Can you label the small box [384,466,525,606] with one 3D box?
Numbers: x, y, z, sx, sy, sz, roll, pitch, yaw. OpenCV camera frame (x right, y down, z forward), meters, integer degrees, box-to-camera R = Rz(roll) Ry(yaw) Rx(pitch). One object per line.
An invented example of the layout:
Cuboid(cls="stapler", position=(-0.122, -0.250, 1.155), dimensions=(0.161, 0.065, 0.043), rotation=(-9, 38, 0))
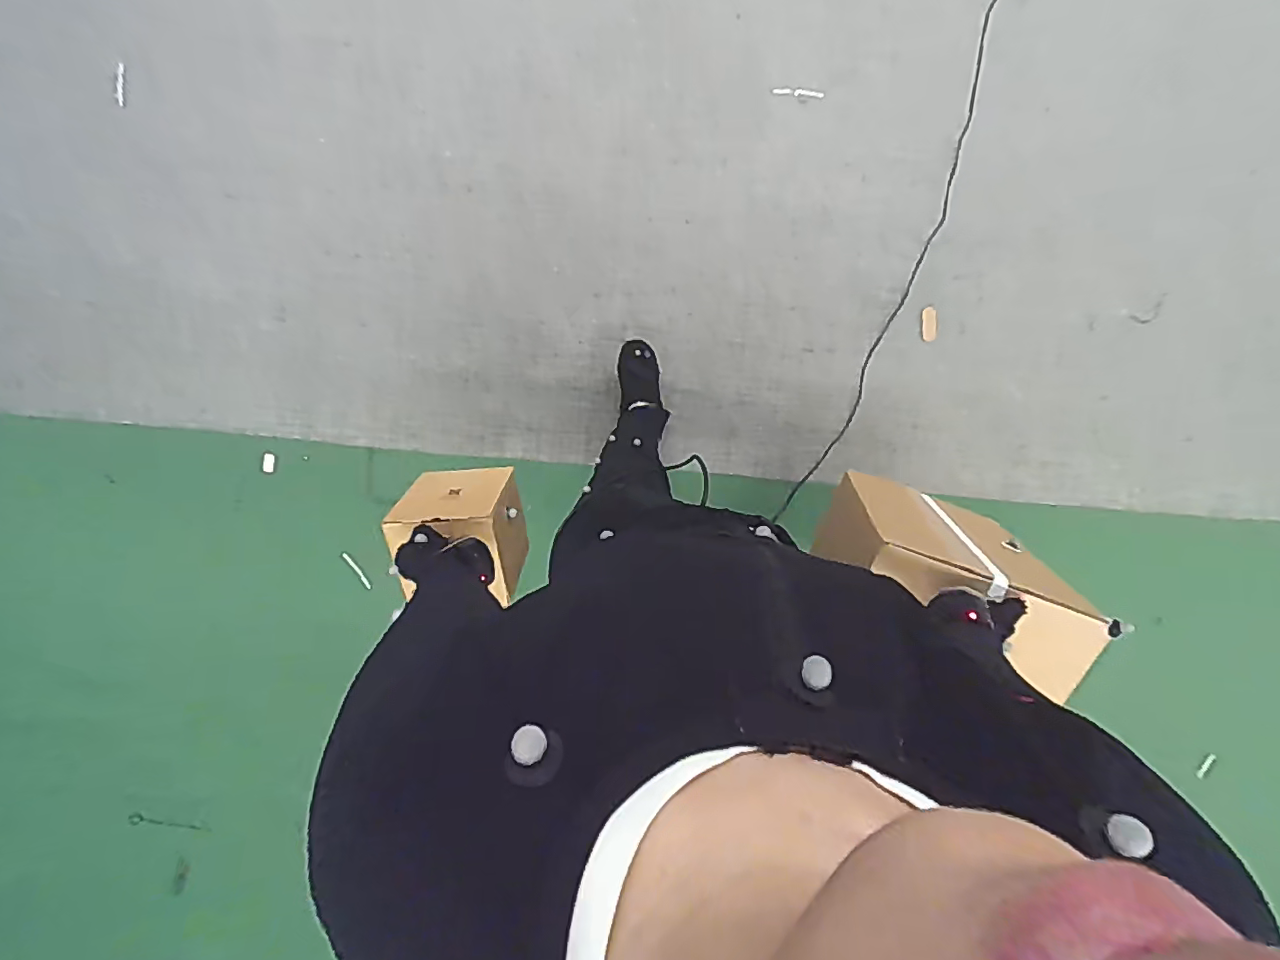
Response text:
Cuboid(cls="small box", position=(-0.298, 0.091, 0.914), dimensions=(0.168, 0.179, 0.176), rotation=(-4, 117, 2))
